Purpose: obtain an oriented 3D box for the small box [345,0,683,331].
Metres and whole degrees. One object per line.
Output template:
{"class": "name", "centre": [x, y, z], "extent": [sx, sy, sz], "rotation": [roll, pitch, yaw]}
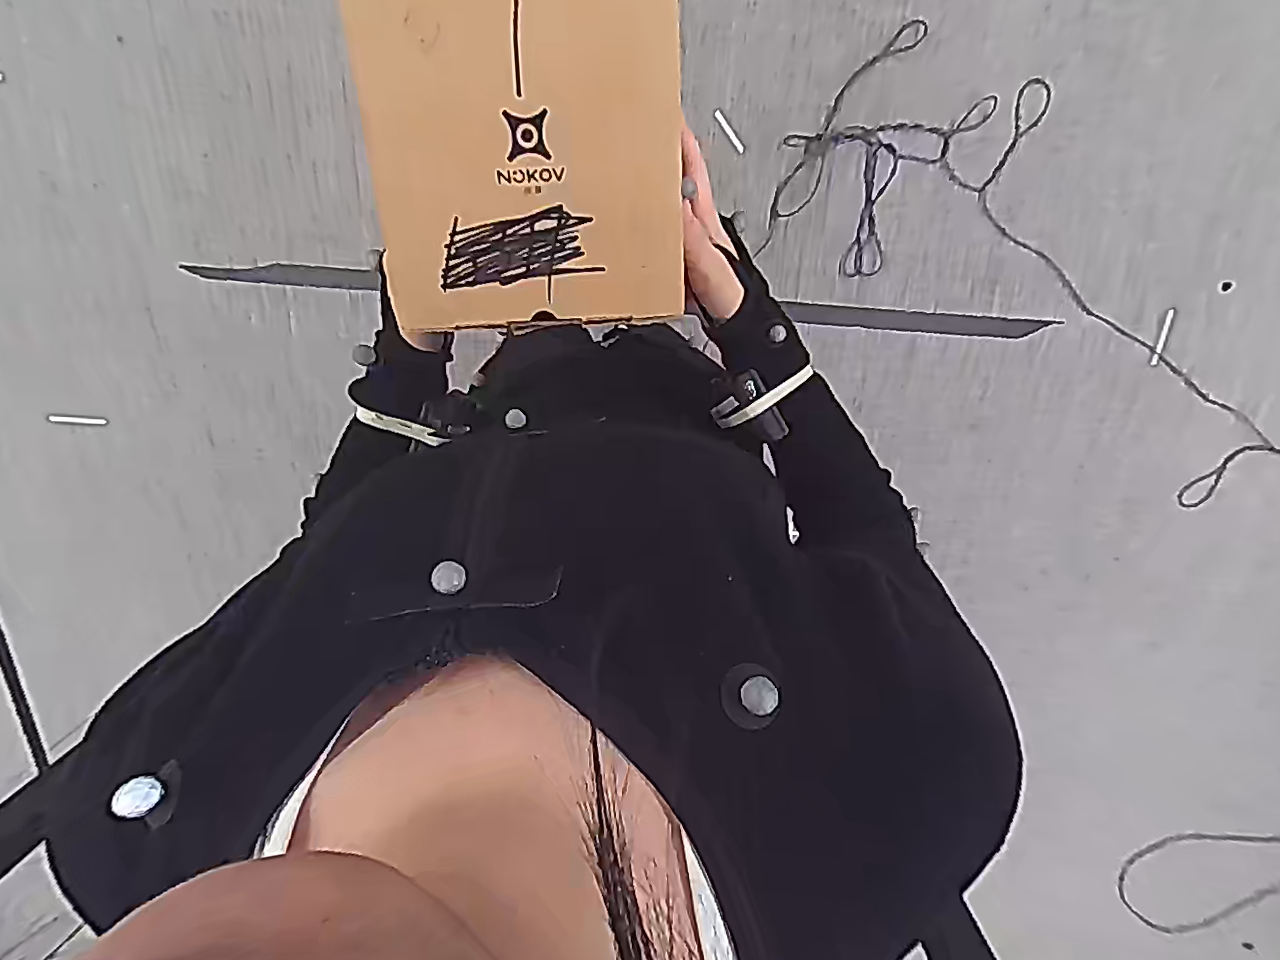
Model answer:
{"class": "small box", "centre": [-0.061, -0.199, 0.360], "extent": [0.168, 0.176, 0.179], "rotation": [-4, 109, -2]}
